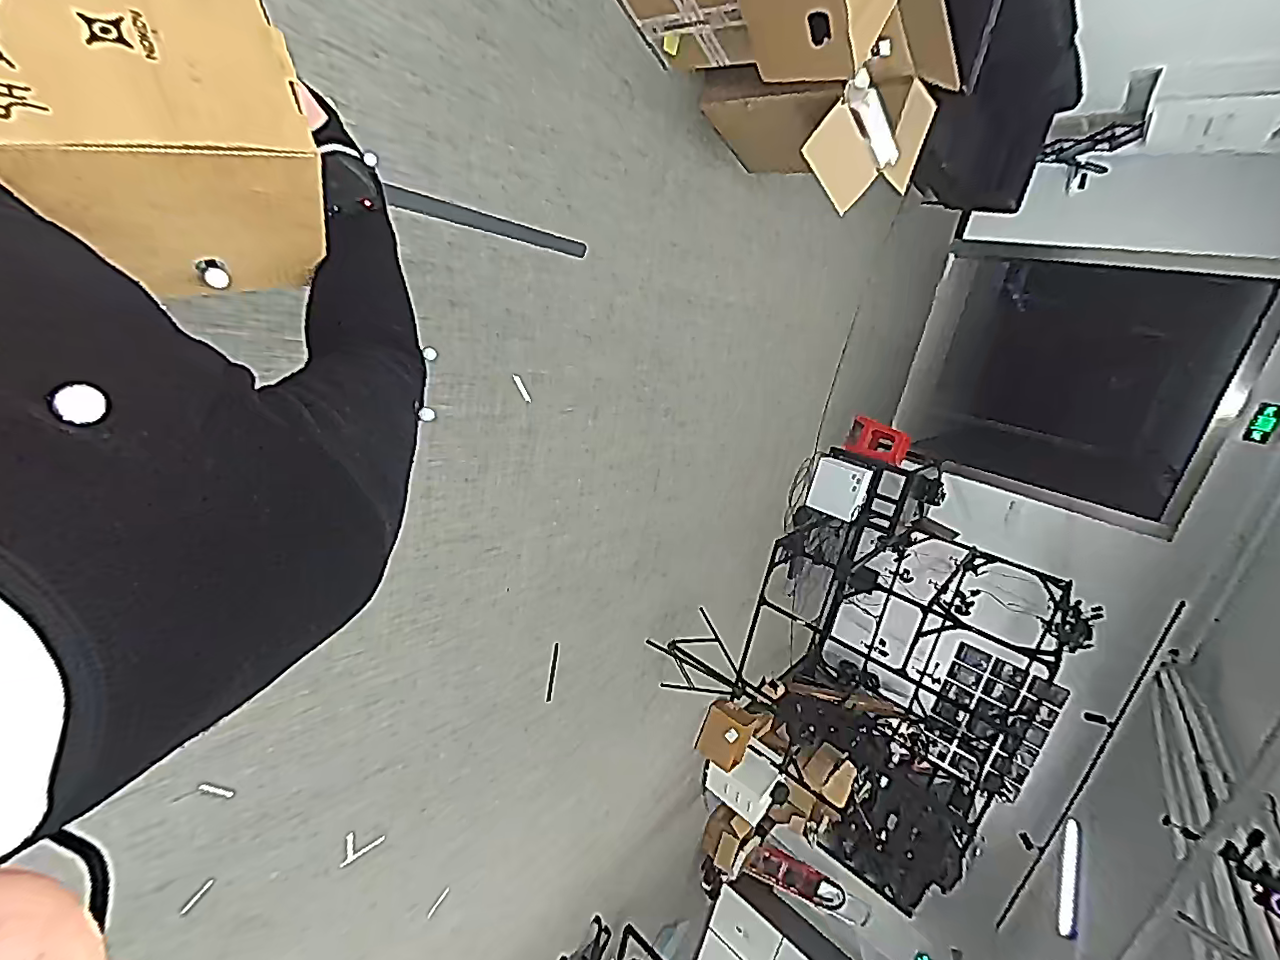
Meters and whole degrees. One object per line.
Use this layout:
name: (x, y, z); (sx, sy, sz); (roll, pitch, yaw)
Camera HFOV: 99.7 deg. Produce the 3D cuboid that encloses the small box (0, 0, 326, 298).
small box: (-0.369, -0.266, 0.429); (0.179, 0.176, 0.168); (-19, 84, -31)
